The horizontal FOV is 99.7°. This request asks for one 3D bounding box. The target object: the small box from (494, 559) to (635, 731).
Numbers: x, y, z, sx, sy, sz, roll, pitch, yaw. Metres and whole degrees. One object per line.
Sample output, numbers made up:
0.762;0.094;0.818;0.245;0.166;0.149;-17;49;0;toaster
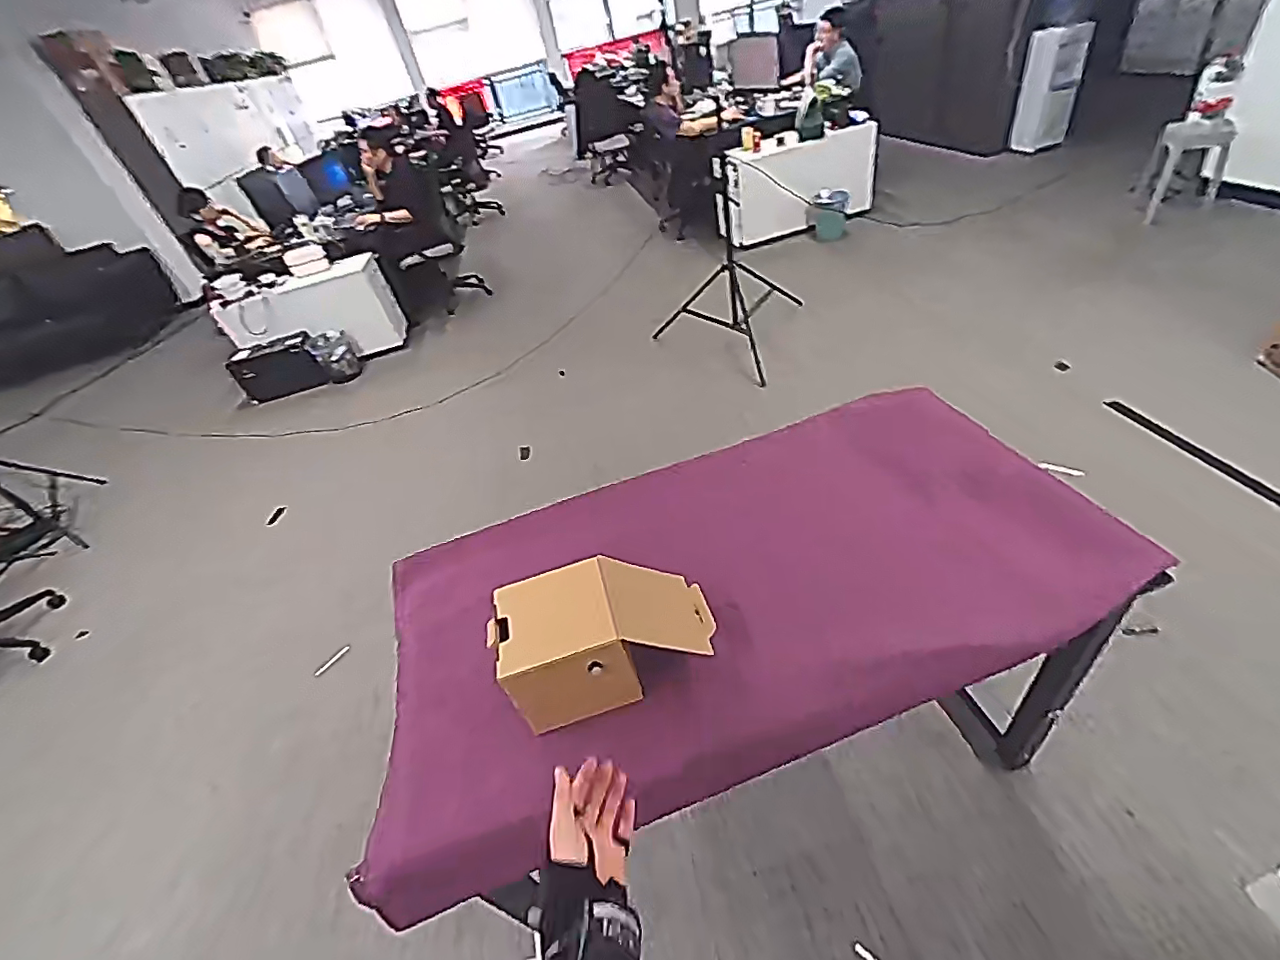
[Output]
-0.114;0.258;0.847;0.179;0.176;0.168;-18;39;-3;small box
